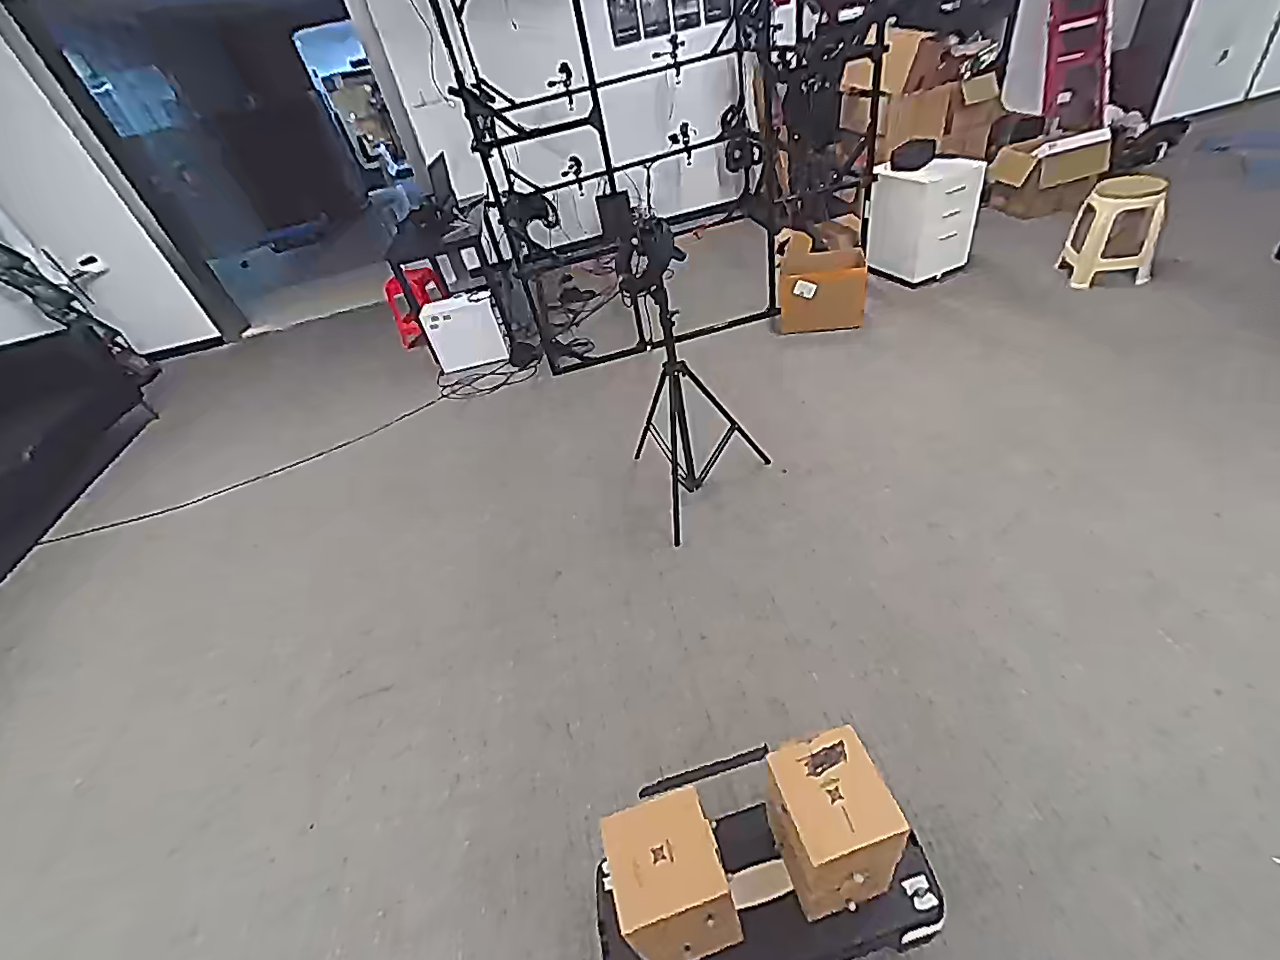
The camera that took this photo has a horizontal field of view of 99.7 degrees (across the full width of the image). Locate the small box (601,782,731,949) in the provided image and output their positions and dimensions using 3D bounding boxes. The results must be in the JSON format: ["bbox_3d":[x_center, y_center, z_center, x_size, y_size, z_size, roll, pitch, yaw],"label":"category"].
[{"bbox_3d":[0.049,0.660,0.927,0.179,0.176,0.168,-19,39,-6],"label":"small box"}]

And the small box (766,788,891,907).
[{"bbox_3d":[0.356,0.697,1.051,0.168,0.176,0.179,-18,40,-4],"label":"small box"}]

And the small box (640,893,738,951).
[{"bbox_3d":[0.079,0.782,1.032,0.179,0.176,0.168,-18,40,-5],"label":"small box"}]

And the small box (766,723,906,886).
[{"bbox_3d":[0.332,0.569,0.950,0.168,0.176,0.179,-18,40,-4],"label":"small box"}]
